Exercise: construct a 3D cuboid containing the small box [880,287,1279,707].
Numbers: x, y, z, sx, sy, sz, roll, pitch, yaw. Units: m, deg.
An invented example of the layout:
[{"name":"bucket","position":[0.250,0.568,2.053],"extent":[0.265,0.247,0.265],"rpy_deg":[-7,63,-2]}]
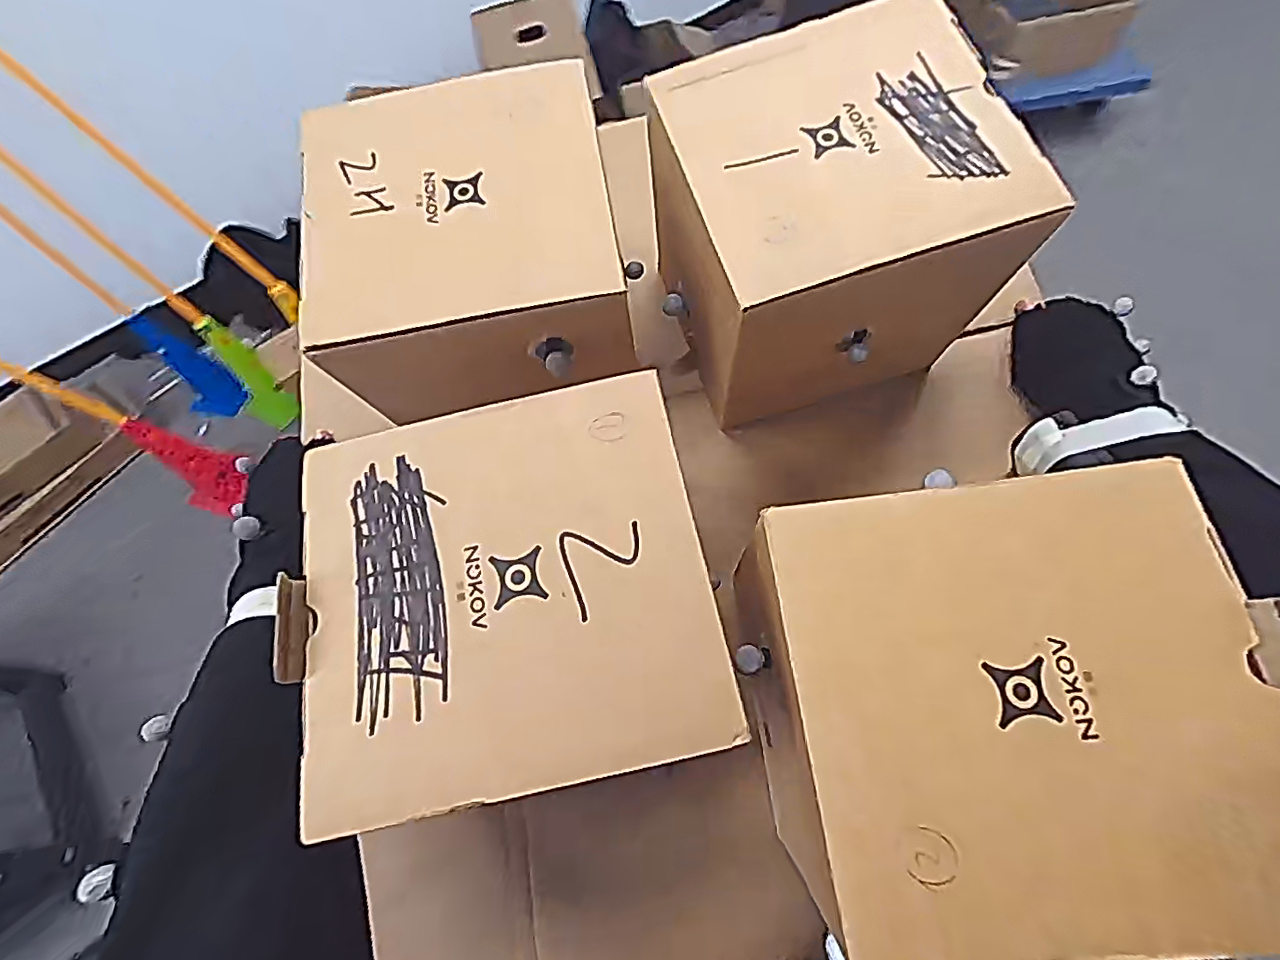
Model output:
[{"name":"small box","position":[0.243,0.018,0.284],"extent":[0.179,0.176,0.168],"rpy_deg":[5,78,7]}]
